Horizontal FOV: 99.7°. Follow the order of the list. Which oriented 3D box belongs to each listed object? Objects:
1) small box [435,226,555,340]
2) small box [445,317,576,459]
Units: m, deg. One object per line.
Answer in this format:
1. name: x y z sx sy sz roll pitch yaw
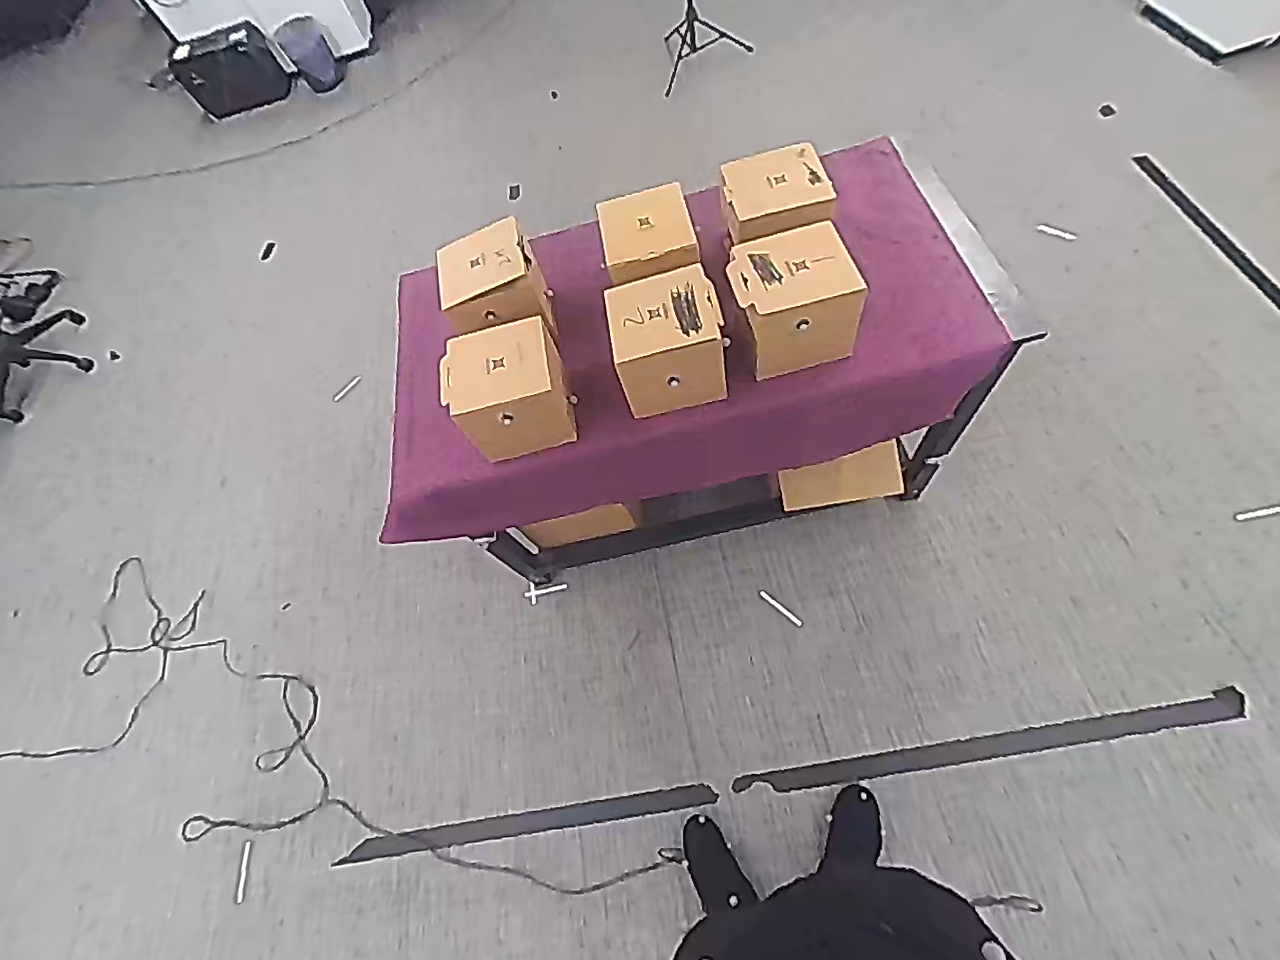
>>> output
1. small box: -0.286 -0.363 1.082 0.179 0.176 0.168 -16 63 3
2. small box: -0.229 -0.156 0.972 0.179 0.176 0.168 -14 63 4
